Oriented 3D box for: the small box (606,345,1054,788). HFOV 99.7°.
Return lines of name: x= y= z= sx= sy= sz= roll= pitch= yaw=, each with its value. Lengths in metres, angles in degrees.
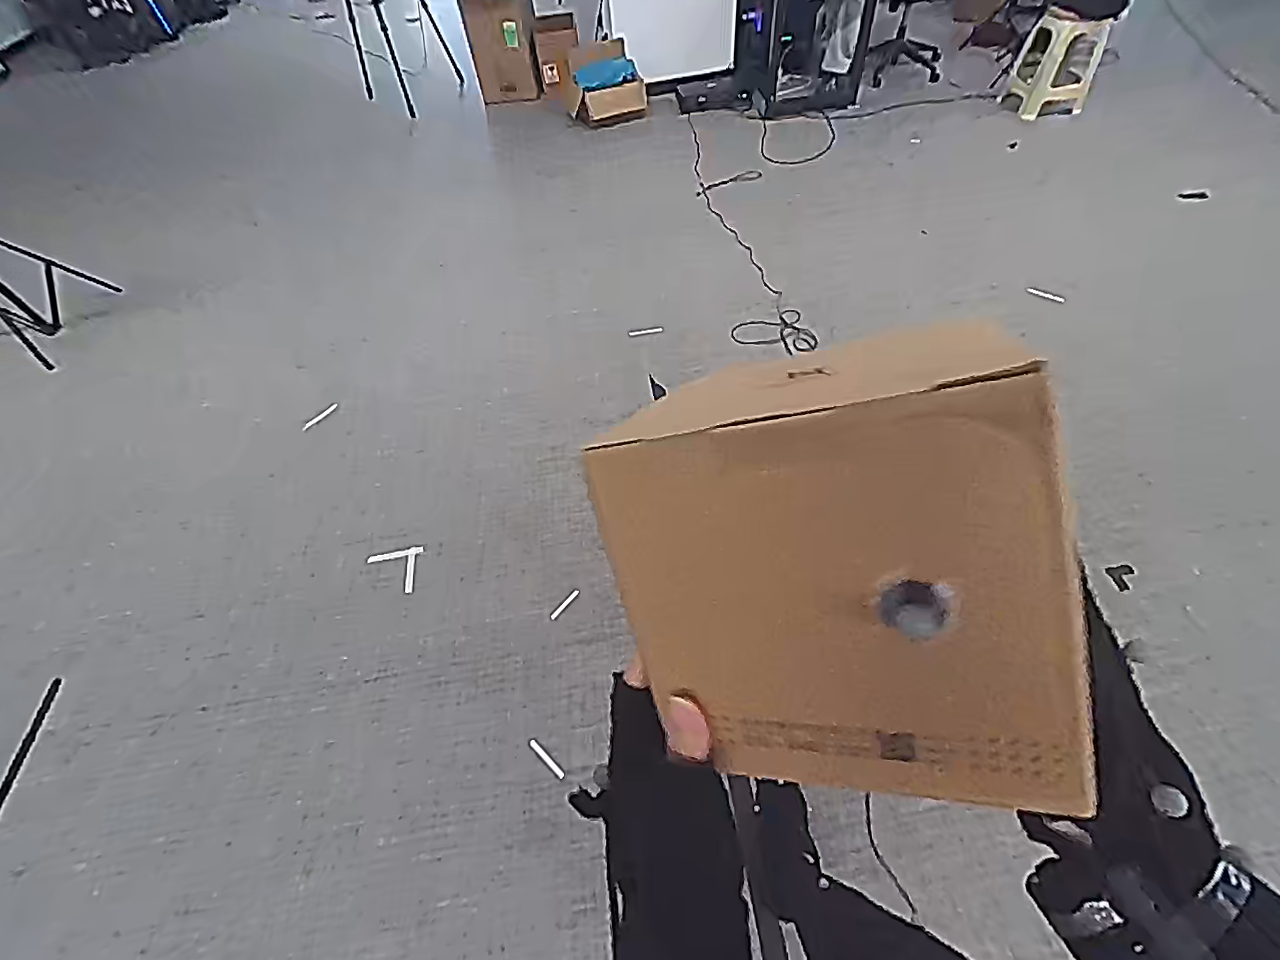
small box: x=0.107 y=0.035 z=0.303 sx=0.168 sy=0.176 sz=0.179 roll=-8 pitch=15 yaw=26
